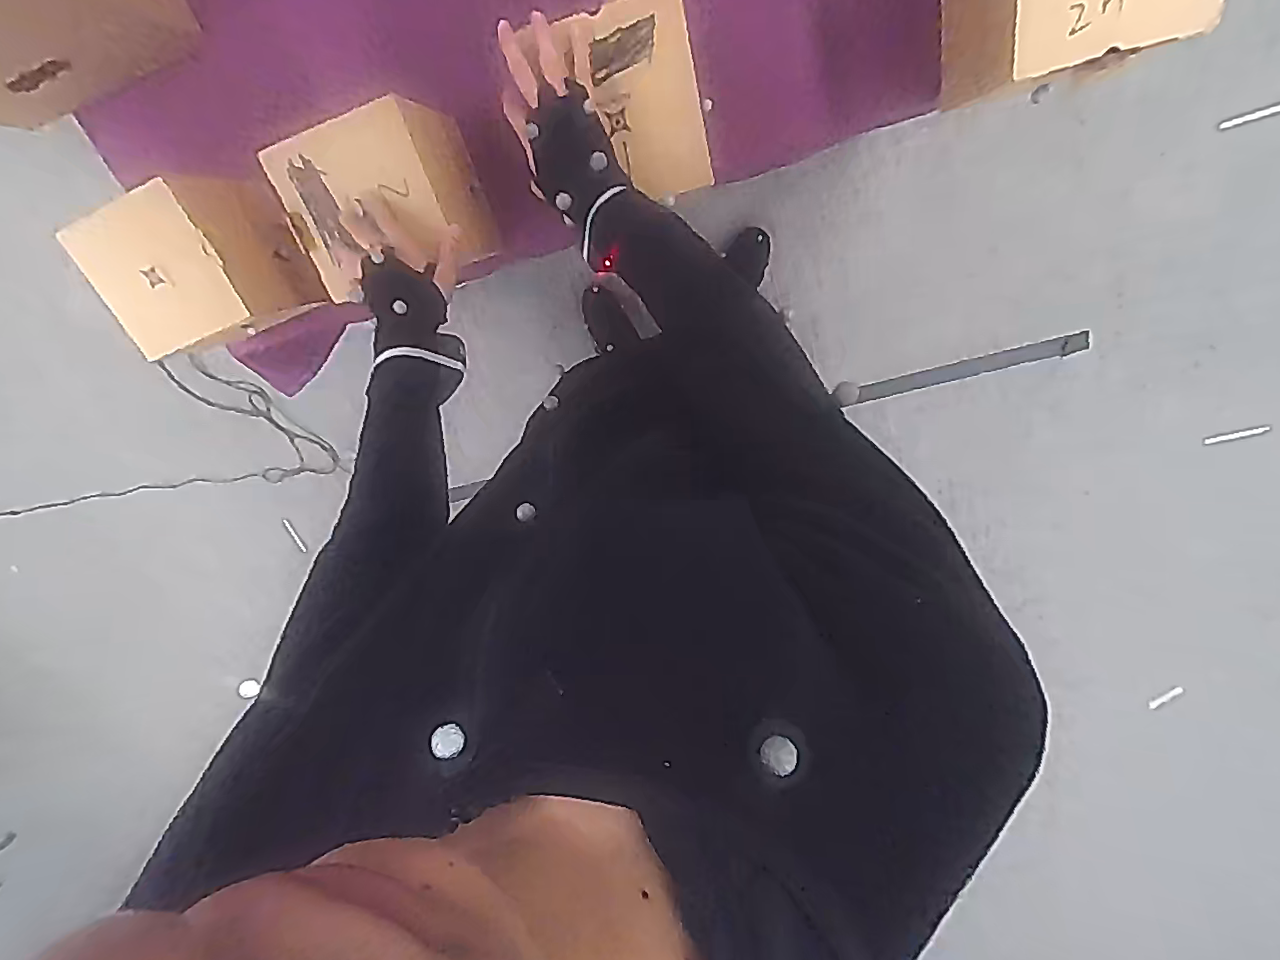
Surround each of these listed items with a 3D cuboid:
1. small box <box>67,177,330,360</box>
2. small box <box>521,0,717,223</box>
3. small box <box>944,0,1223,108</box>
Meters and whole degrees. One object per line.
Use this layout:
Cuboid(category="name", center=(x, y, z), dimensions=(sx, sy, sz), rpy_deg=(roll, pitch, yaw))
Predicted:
Cuboid(category="small box", center=(-0.571, -0.281, 0.727), dimensions=(0.179, 0.176, 0.168), rpy_deg=(-18, 113, 12))
Cuboid(category="small box", center=(-0.012, -0.402, 0.610), dimensions=(0.168, 0.176, 0.179), rpy_deg=(-11, 115, 11))
Cuboid(category="small box", center=(0.411, -0.492, 0.520), dimensions=(0.168, 0.176, 0.179), rpy_deg=(-9, 115, 11))
